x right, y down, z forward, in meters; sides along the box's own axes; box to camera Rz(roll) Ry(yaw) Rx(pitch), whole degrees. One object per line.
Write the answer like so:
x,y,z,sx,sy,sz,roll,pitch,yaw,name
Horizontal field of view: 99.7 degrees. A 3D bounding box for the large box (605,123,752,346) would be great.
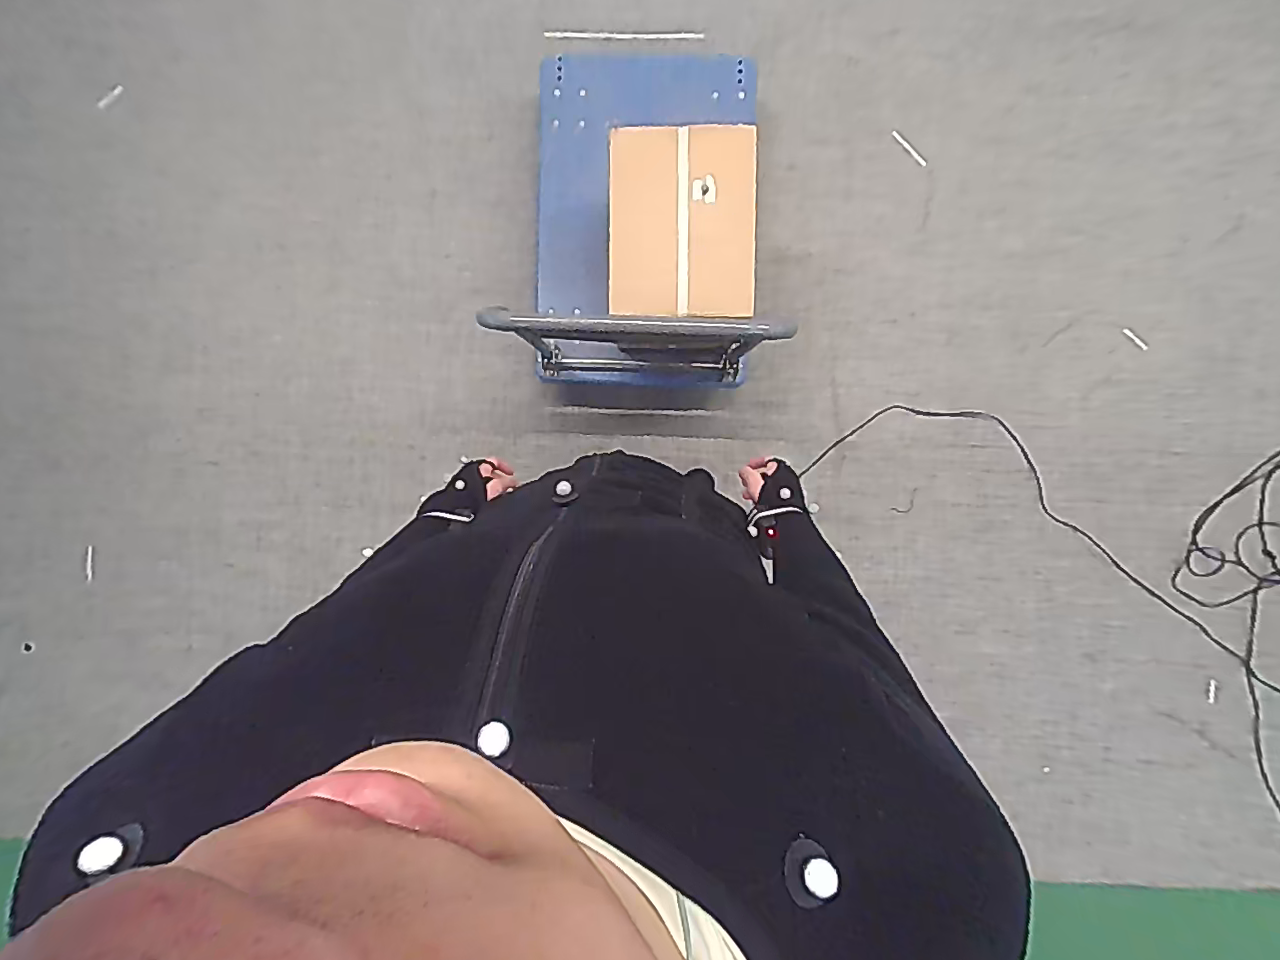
0.085,-0.554,1.292,0.320,0.320,0.408,0,92,0,large box
